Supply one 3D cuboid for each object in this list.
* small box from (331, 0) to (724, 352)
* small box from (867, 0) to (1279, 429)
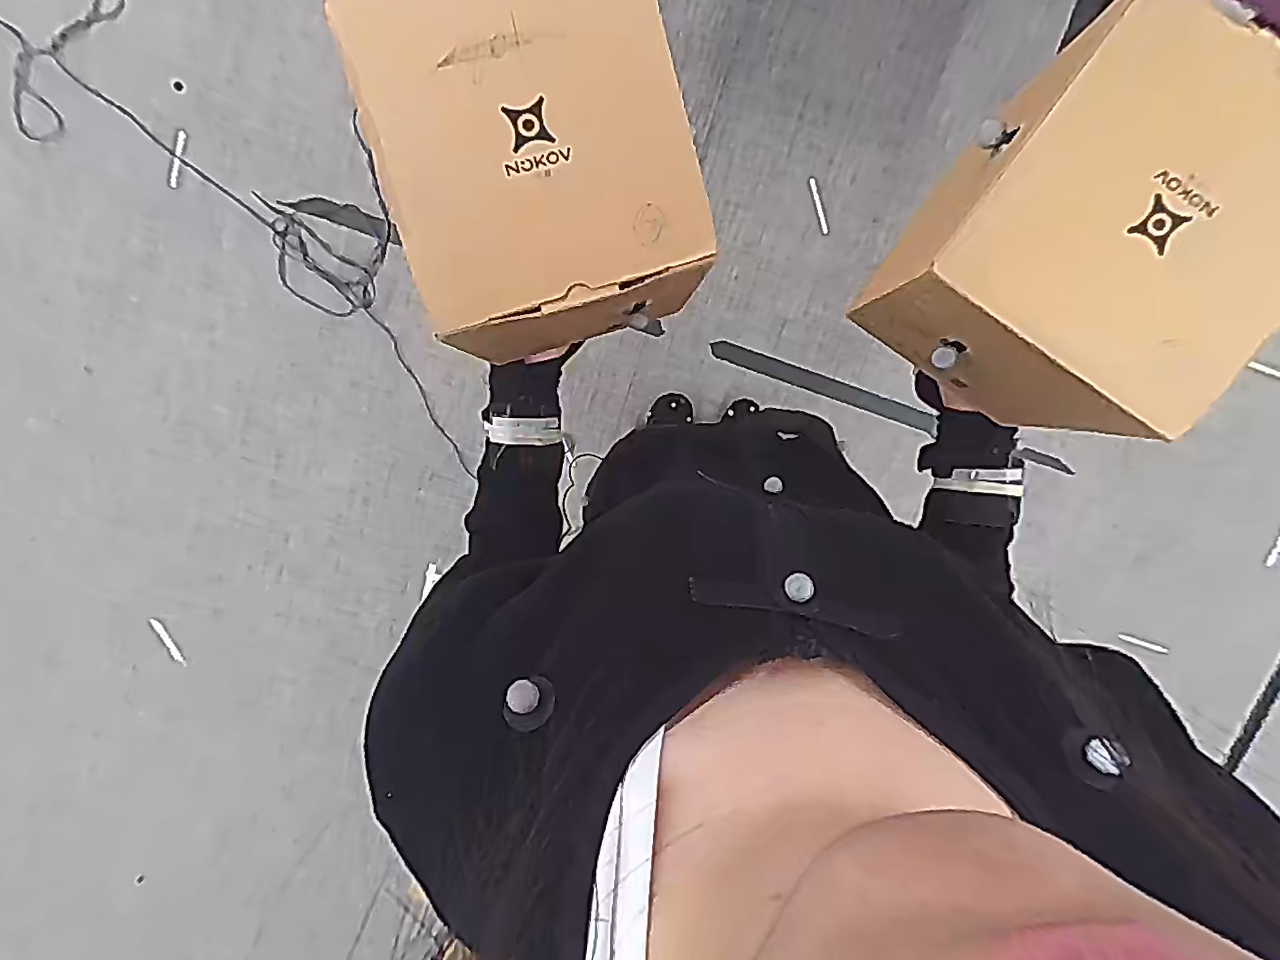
[{"bbox_3d":[-0.058,-0.193,0.362,0.168,0.176,0.179,-18,97,-2],"label":"small box"},{"bbox_3d":[0.279,-0.152,0.358,0.168,0.176,0.179,35,99,-1],"label":"small box"}]
